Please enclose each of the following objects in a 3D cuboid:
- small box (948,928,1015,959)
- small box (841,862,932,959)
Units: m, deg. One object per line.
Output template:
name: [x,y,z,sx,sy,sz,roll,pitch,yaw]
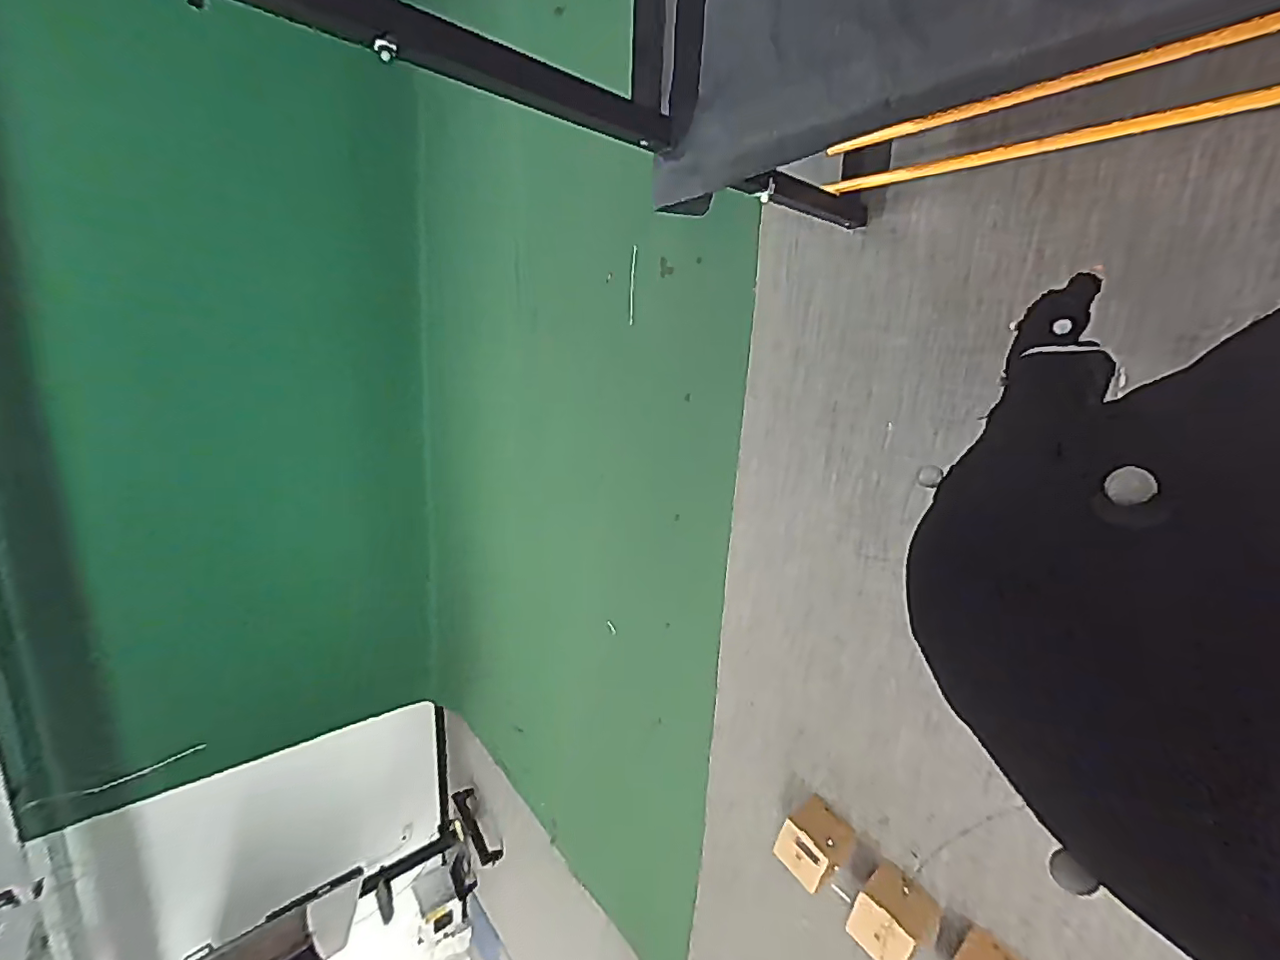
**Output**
small box: [0.891,1.331,1.394,0.168,0.176,0.179,19,109,47]
small box: [0.724,1.283,1.583,0.168,0.176,0.179,29,116,43]
